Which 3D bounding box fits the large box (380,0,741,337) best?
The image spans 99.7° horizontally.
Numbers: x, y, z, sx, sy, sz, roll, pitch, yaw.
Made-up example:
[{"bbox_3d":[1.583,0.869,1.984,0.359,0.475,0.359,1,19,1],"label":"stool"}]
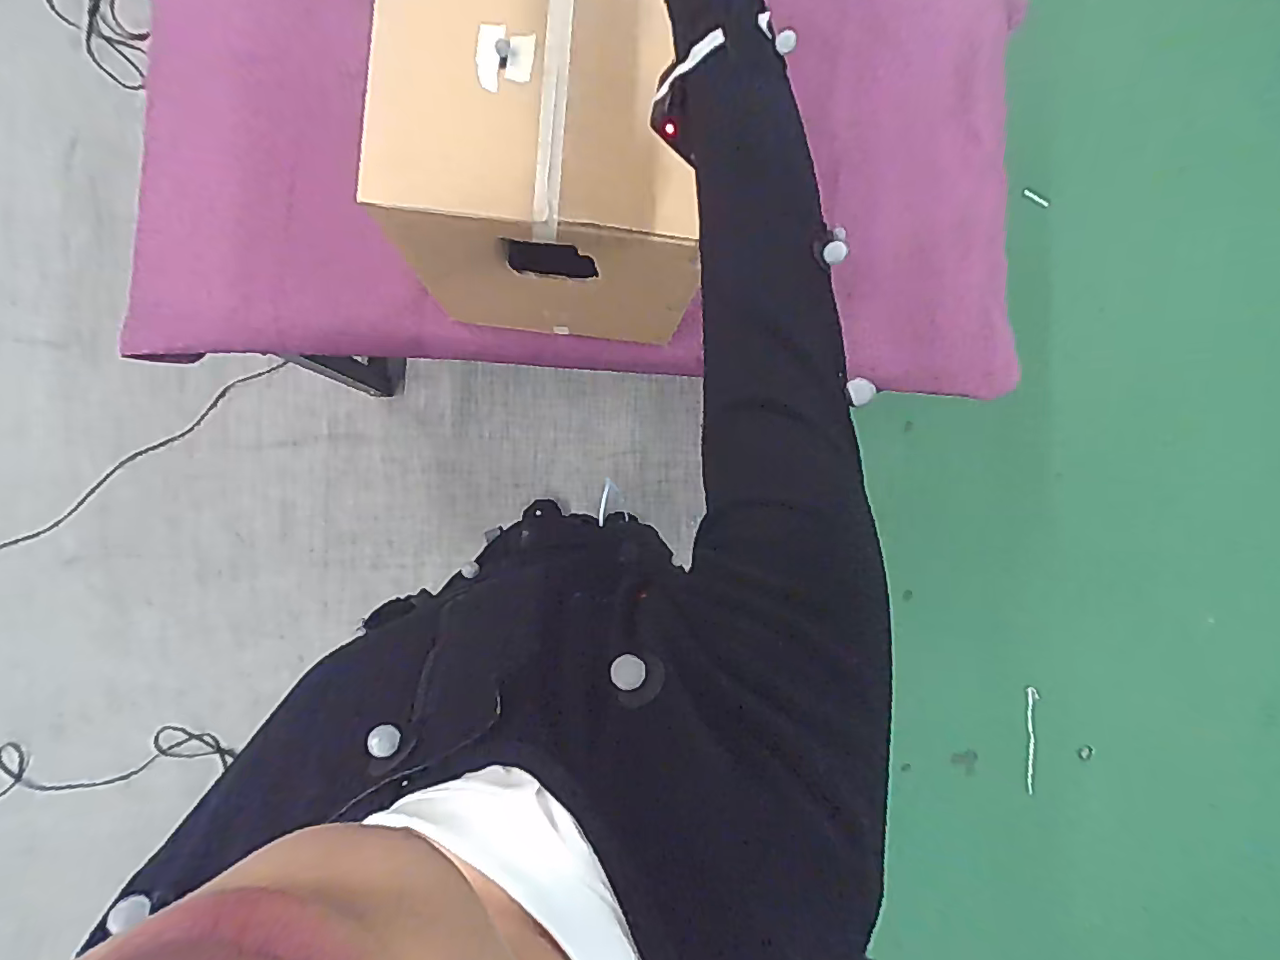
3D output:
[{"bbox_3d":[-0.077,-0.420,0.633,0.320,0.320,0.408,5,89,-5],"label":"large box"}]
